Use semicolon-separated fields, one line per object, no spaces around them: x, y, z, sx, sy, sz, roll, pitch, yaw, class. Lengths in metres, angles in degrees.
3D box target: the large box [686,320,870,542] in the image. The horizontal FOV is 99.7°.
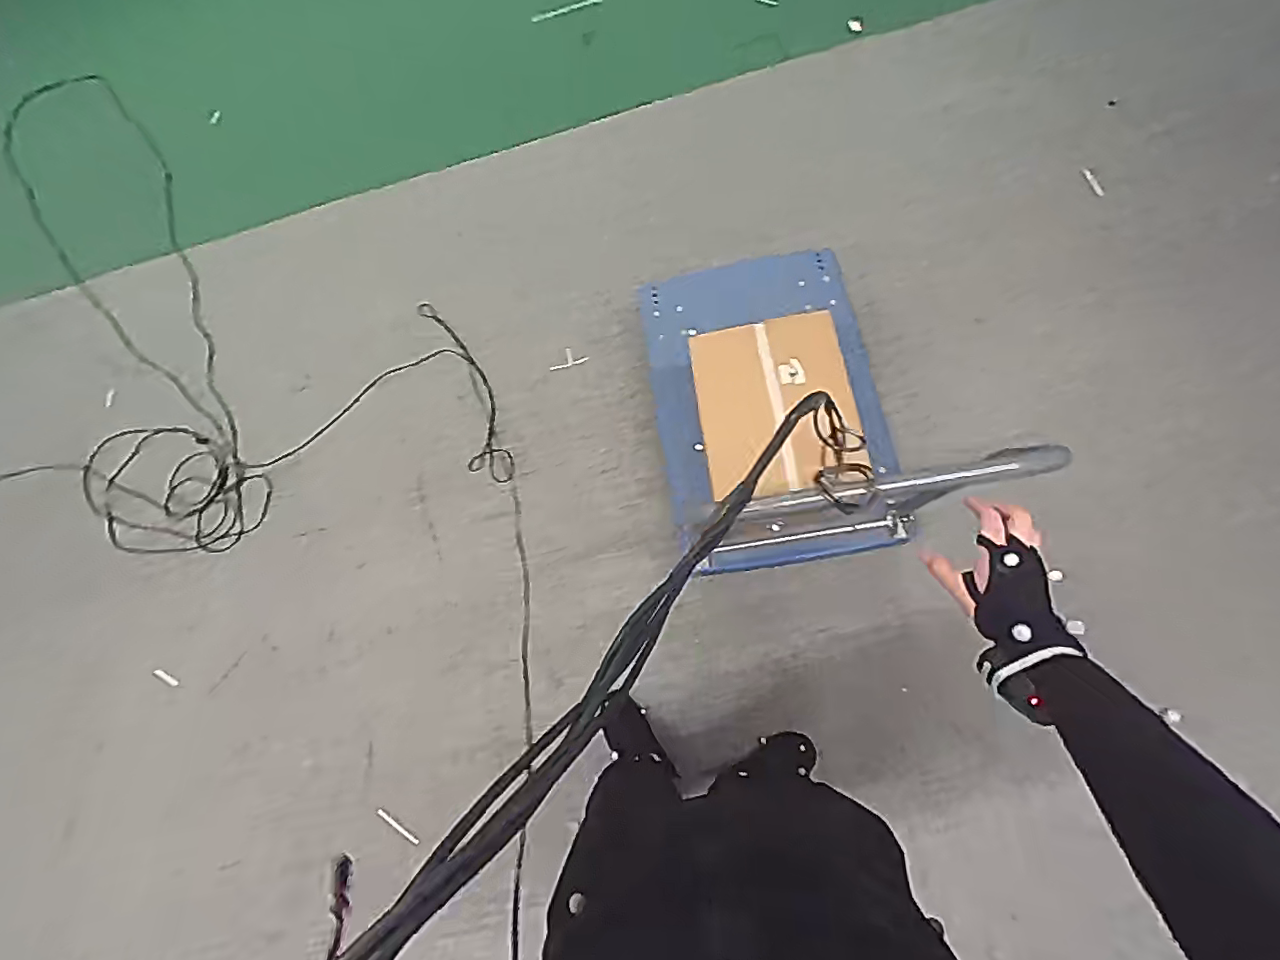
0.299;-0.096;1.272;0.320;0.320;0.408;-9;71;5;large box
